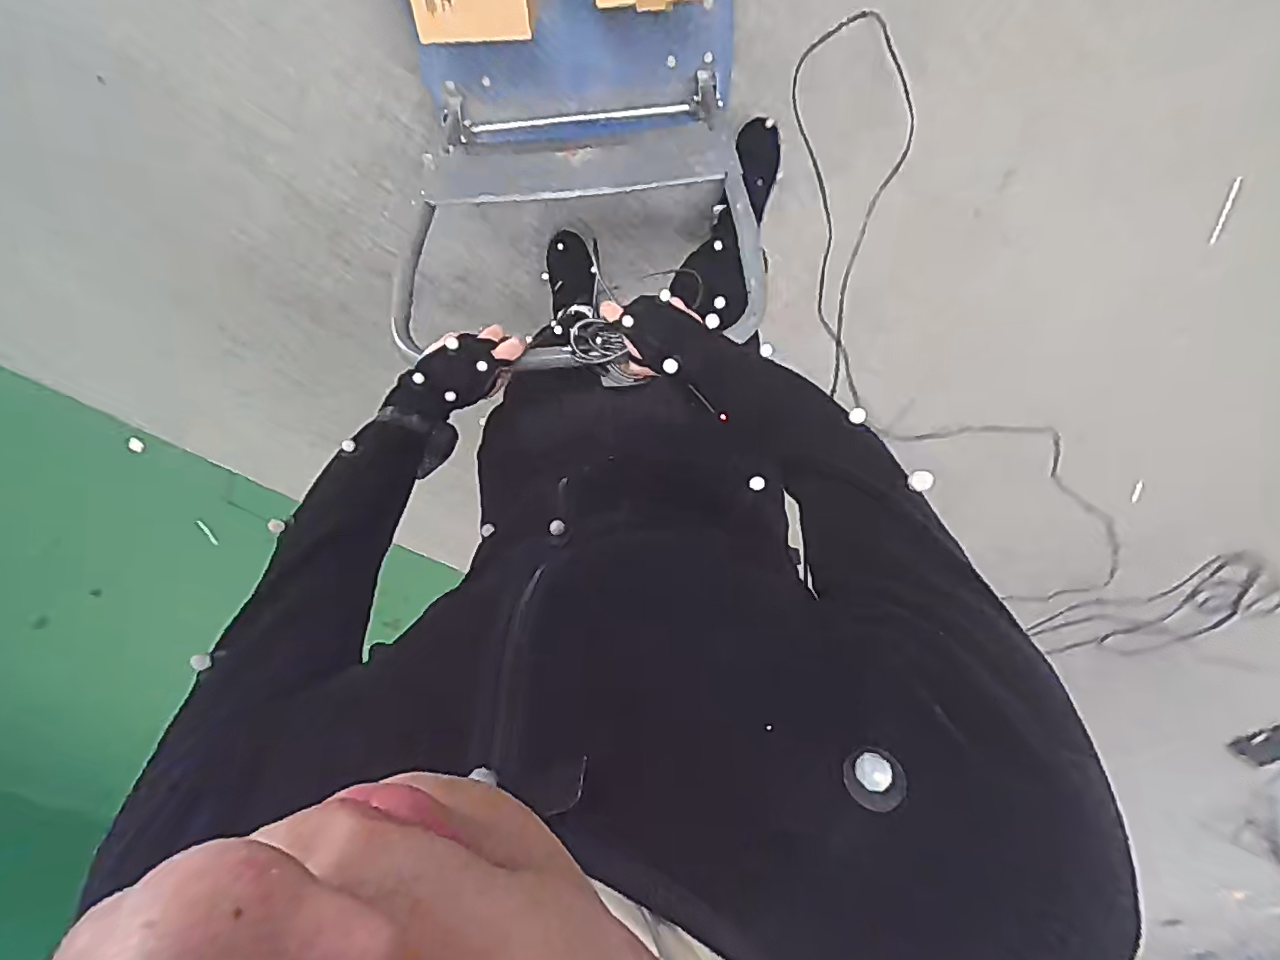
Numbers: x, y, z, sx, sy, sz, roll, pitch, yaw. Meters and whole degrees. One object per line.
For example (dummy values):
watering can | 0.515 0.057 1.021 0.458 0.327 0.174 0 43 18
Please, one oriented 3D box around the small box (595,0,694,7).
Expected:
small box | 0.006 -0.834 0.796 0.168 0.176 0.179 -3 143 2
